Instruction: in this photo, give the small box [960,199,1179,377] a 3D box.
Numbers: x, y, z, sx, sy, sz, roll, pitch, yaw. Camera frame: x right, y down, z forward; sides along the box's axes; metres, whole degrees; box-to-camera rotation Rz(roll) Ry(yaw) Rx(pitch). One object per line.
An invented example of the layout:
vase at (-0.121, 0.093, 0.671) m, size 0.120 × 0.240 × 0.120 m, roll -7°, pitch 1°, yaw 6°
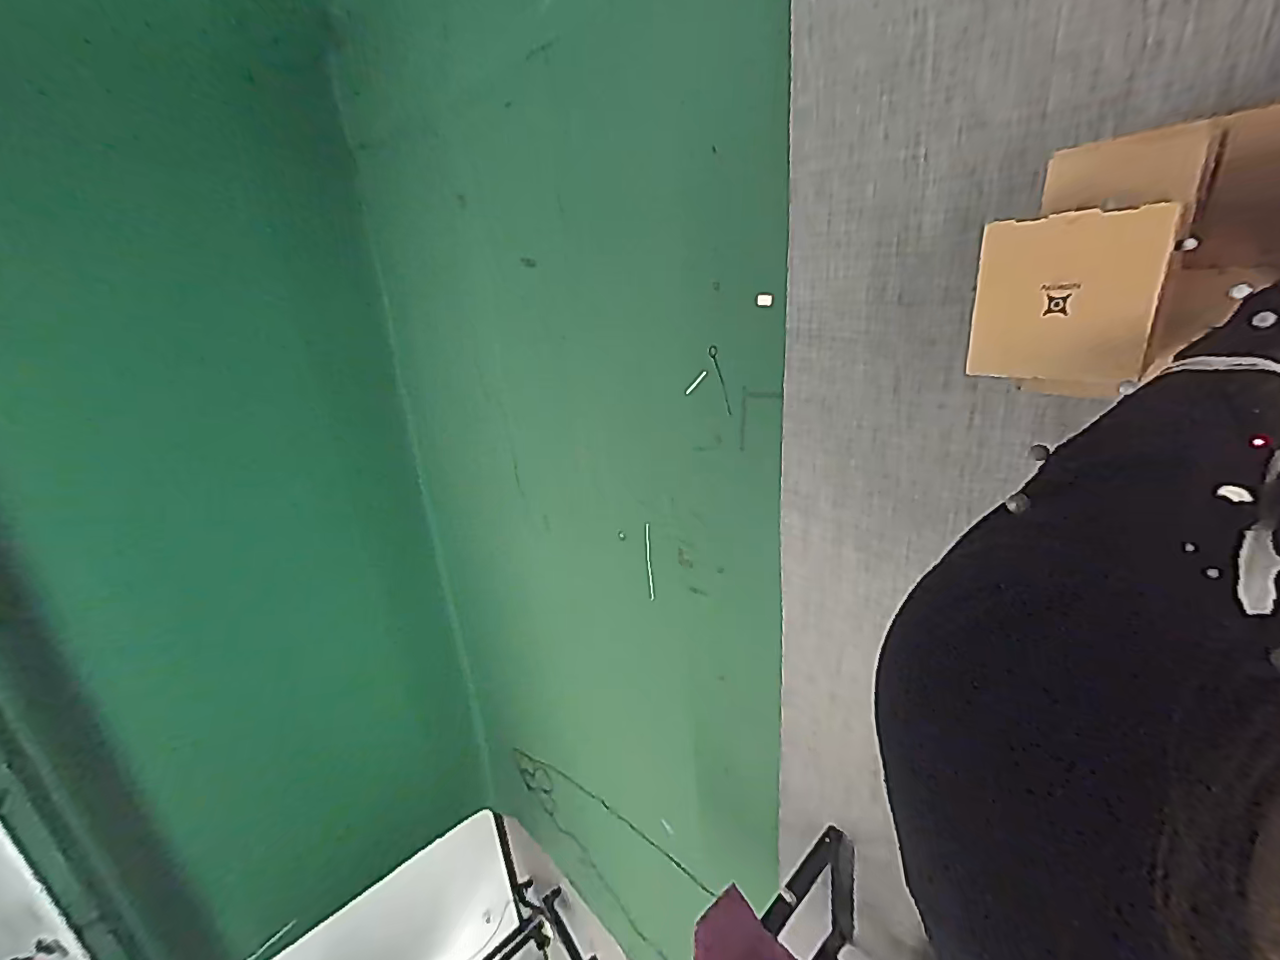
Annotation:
small box at (0.513, -0.232, 0.650) m, size 0.168 × 0.176 × 0.179 m, roll 17°, pitch 119°, yaw 43°
